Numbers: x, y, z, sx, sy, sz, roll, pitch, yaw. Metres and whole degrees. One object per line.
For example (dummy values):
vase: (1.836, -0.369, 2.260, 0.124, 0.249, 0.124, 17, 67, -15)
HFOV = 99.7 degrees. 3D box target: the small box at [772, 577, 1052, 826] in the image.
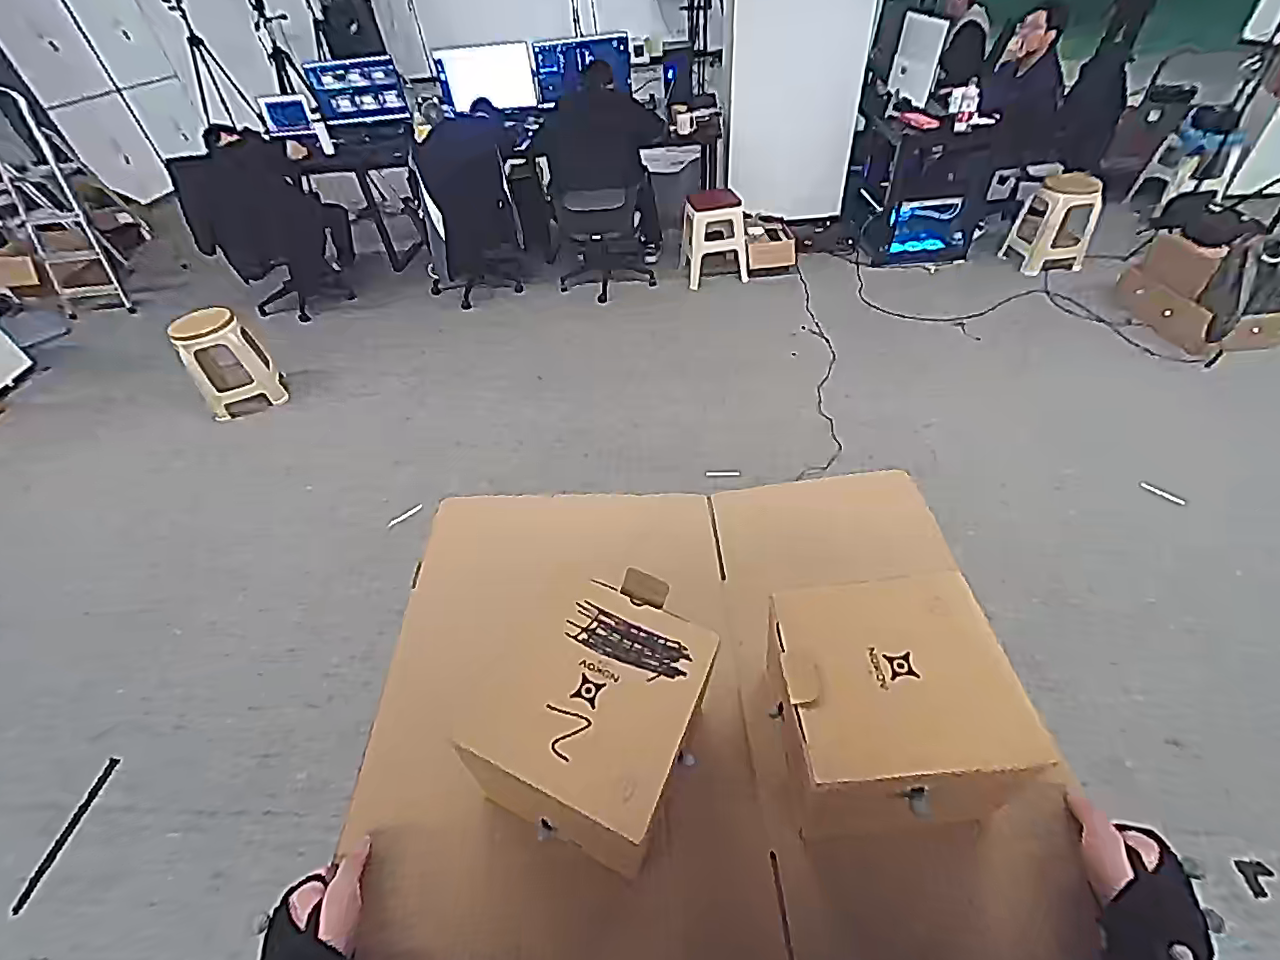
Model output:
small box: (0.229, 0.214, 0.515, 0.179, 0.176, 0.168, -9, 46, 5)
